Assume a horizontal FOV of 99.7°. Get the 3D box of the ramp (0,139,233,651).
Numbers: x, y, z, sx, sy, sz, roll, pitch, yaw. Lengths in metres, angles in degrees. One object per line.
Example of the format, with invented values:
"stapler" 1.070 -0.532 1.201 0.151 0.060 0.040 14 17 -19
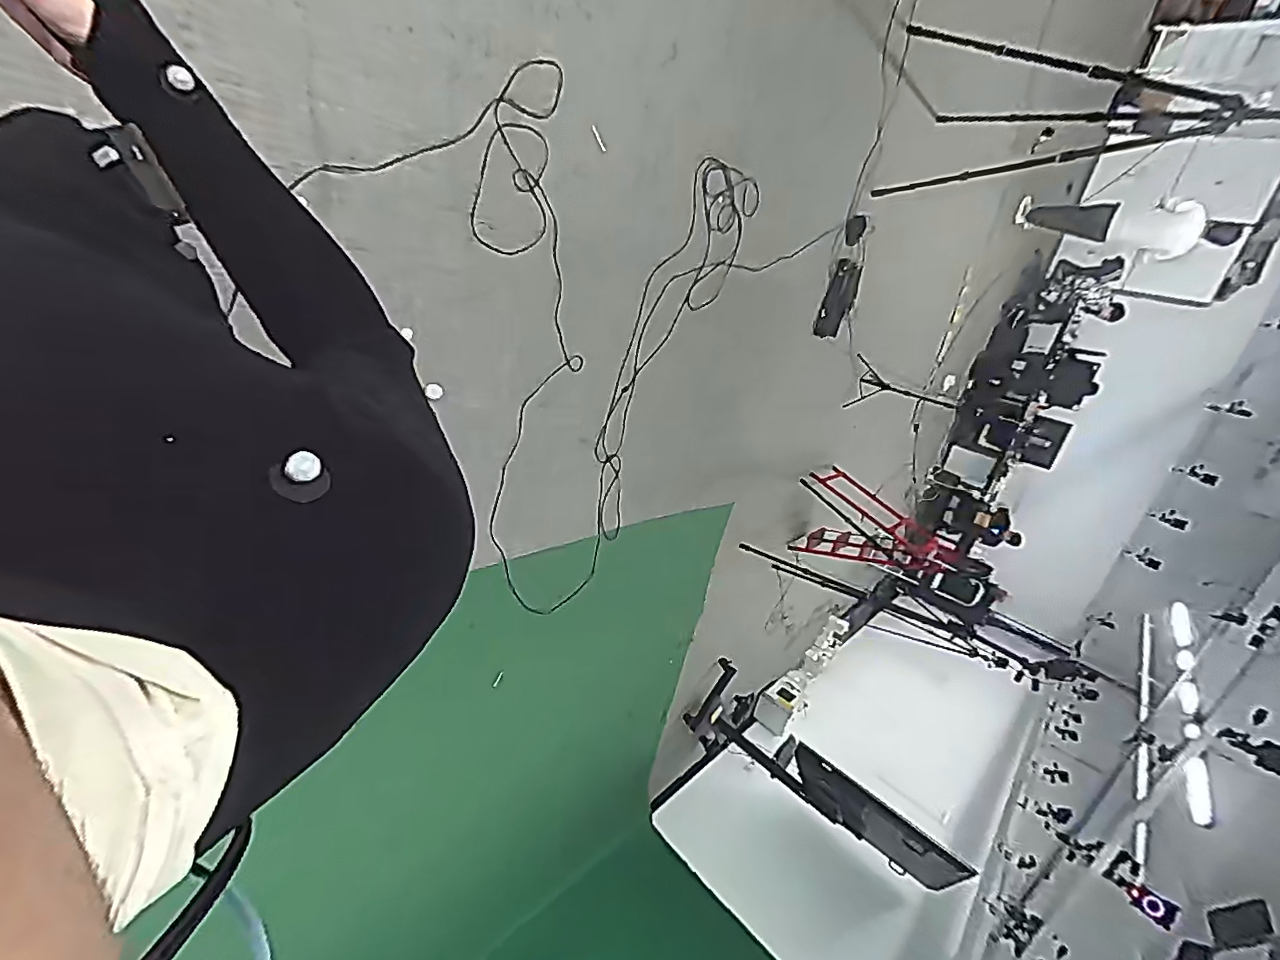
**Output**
"ramp" -1.210 -0.146 1.118 0.509 0.206 0.991 -14 123 -44
